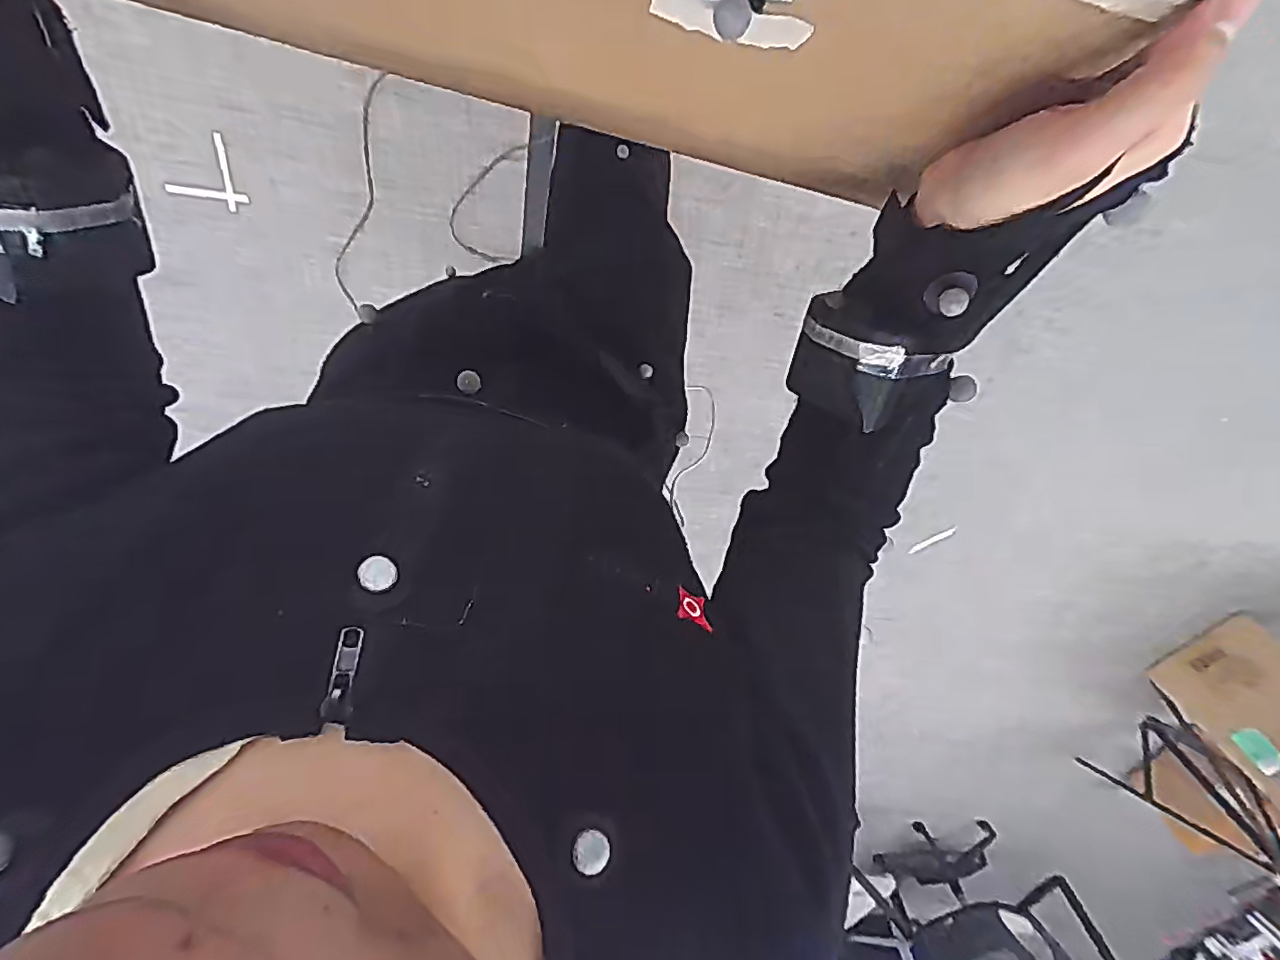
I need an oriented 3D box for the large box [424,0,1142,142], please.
[{"bbox_3d":[0.014,-0.343,0.097,0.408,0.320,0.320,8,93,-11],"label":"large box"}]
